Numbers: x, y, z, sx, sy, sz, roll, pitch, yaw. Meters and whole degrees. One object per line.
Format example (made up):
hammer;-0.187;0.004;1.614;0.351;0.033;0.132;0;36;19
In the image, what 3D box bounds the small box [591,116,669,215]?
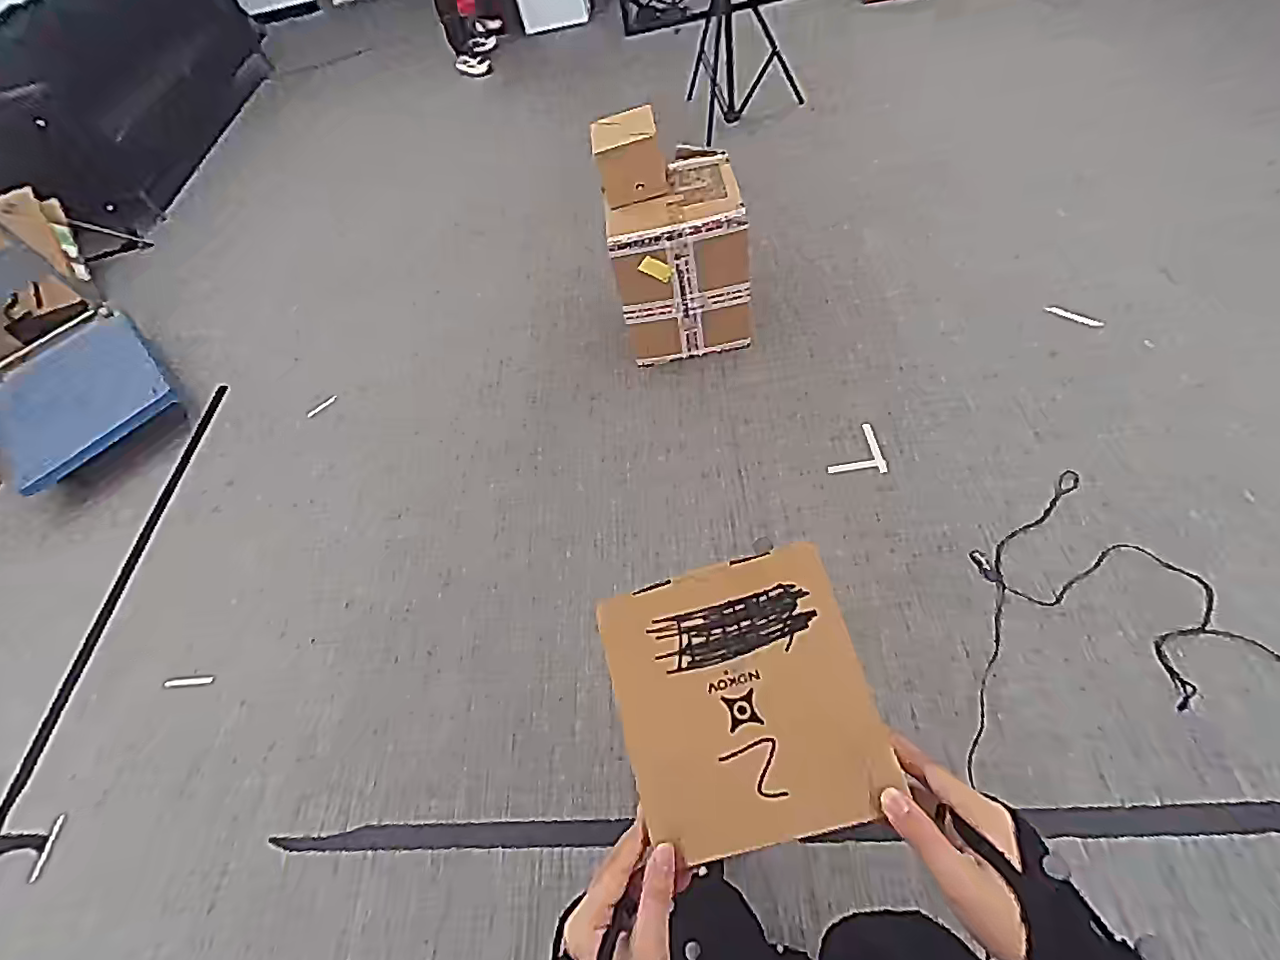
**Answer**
small box;-0.027;-0.897;1.537;0.179;0.176;0.168;-12;57;8
